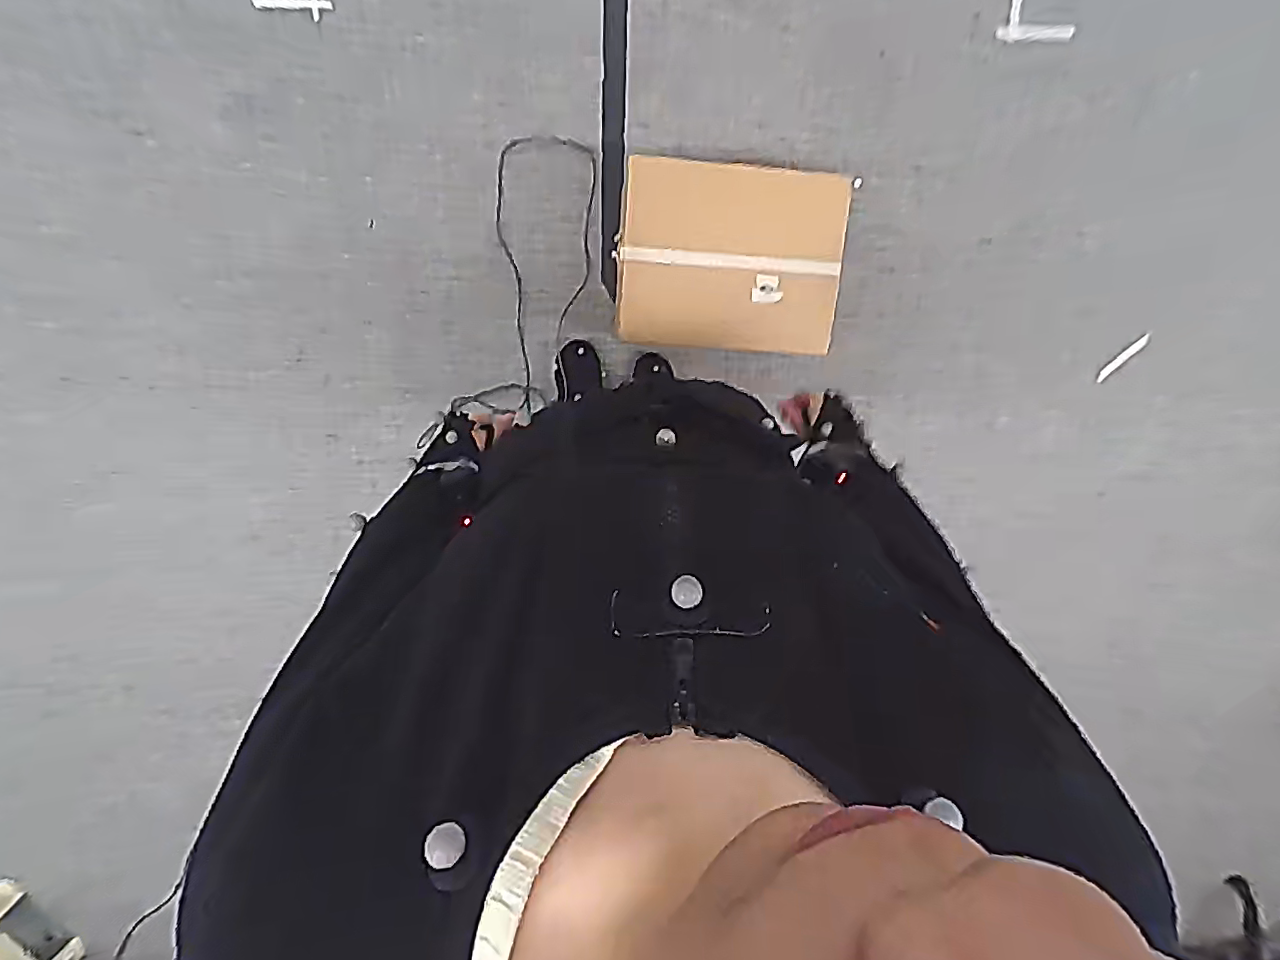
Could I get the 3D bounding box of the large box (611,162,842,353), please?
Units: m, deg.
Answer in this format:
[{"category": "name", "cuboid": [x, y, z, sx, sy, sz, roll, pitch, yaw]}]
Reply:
[{"category": "large box", "cuboid": [0.147, -0.437, 1.135, 0.408, 0.320, 0.320, 2, 106, -6]}]
